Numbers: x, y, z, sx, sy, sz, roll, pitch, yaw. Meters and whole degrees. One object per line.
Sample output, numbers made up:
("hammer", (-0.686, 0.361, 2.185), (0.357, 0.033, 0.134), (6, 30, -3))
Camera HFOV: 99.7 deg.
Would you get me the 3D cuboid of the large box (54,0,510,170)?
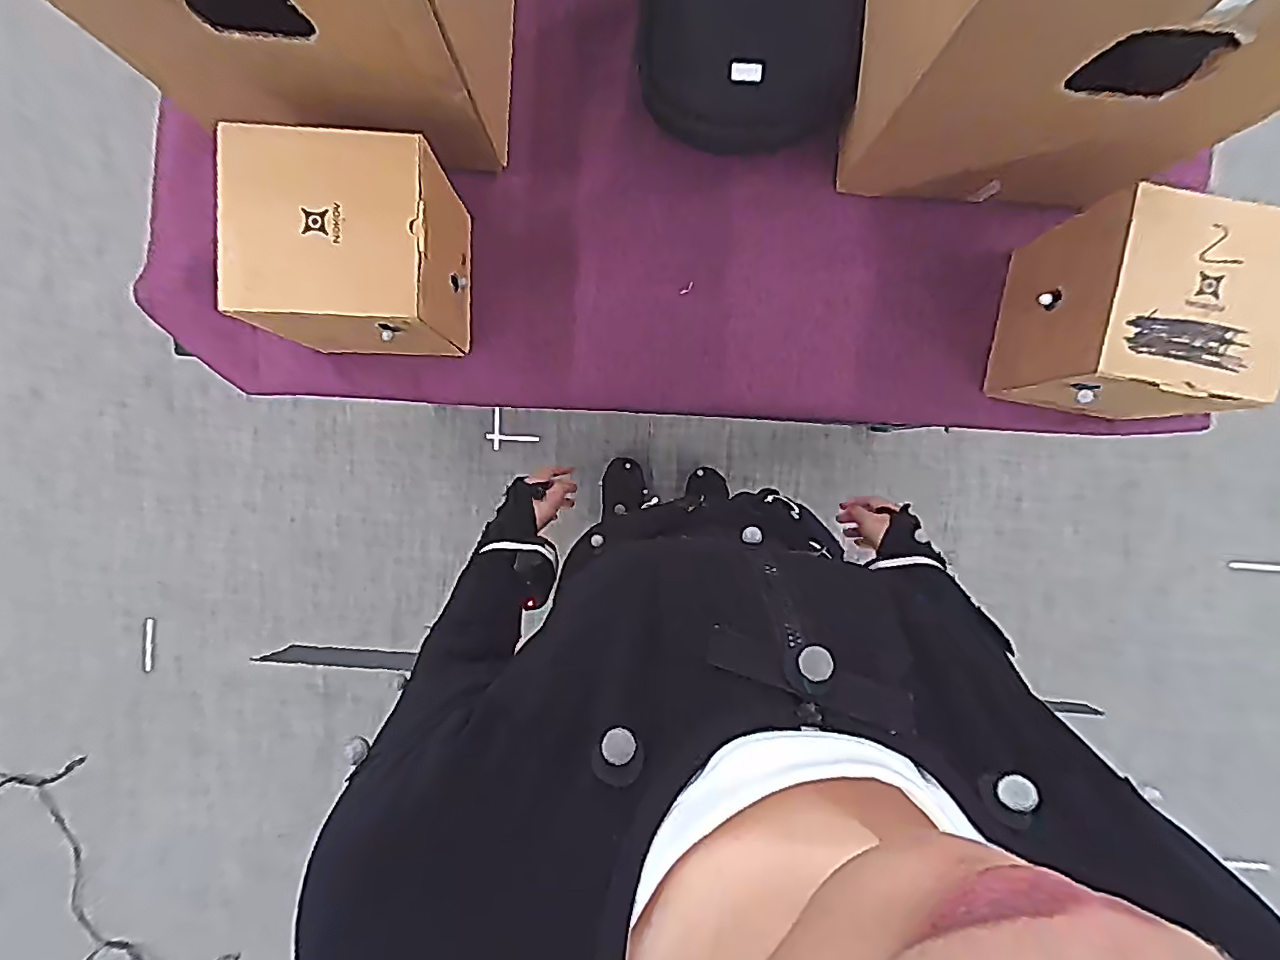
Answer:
("large box", (-0.295, -0.563, 0.481), (0.320, 0.320, 0.408), (3, 95, -2))
